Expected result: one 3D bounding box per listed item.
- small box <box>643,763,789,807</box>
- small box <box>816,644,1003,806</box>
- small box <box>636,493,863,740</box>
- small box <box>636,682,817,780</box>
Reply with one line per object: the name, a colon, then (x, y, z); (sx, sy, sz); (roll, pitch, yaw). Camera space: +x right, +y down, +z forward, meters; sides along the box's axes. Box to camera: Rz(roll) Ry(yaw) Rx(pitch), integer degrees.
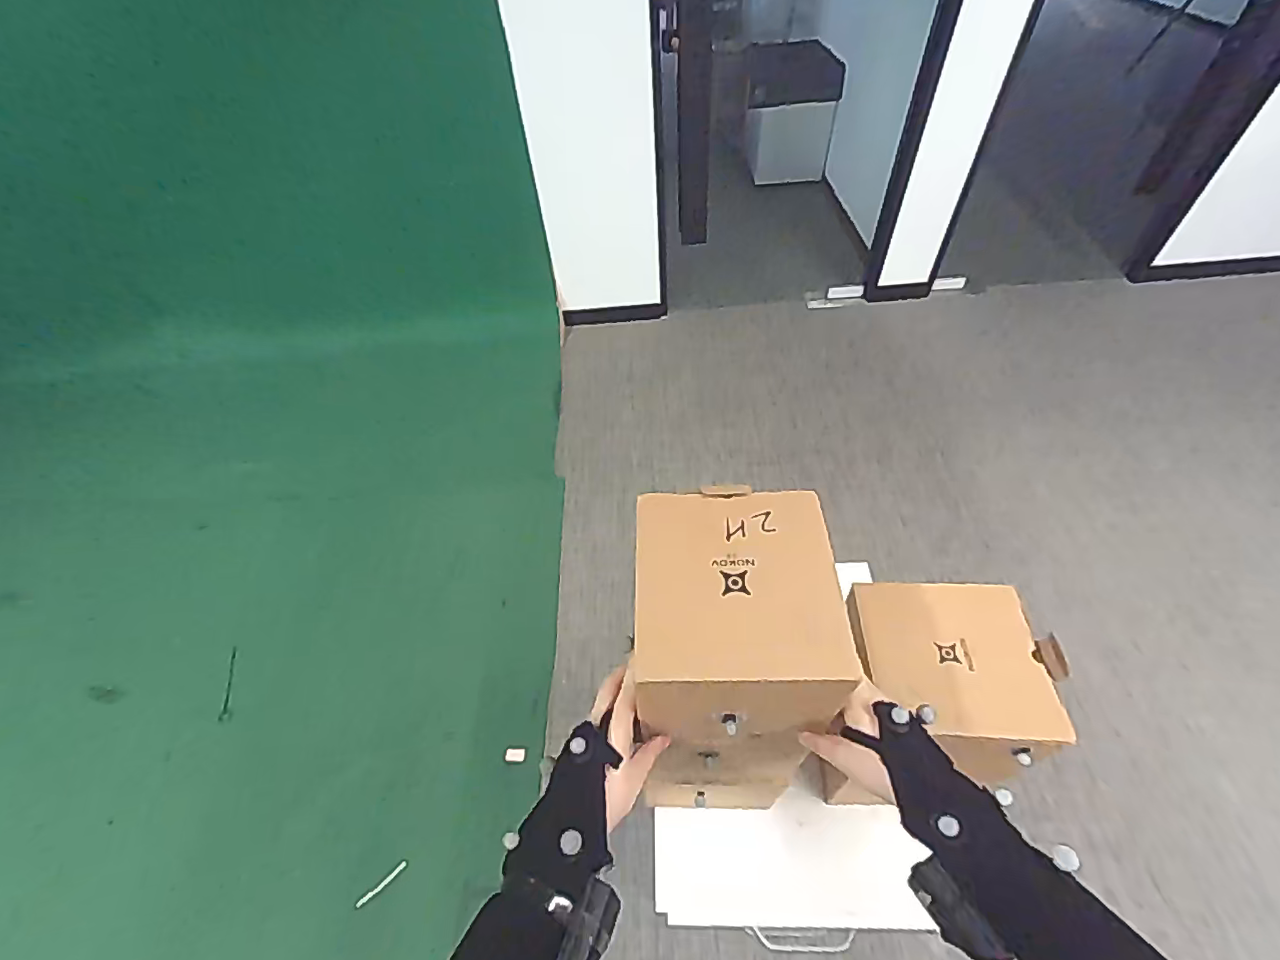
small box: (0.098, 0.346, 0.750); (0.179, 0.176, 0.168); (-1, 51, 3)
small box: (0.343, 0.336, 0.740); (0.179, 0.176, 0.168); (-2, 50, 5)
small box: (0.085, 0.131, 0.501); (0.168, 0.176, 0.179); (-1, 51, 2)
small box: (0.088, 0.239, 0.625); (0.179, 0.176, 0.168); (-1, 51, 2)
